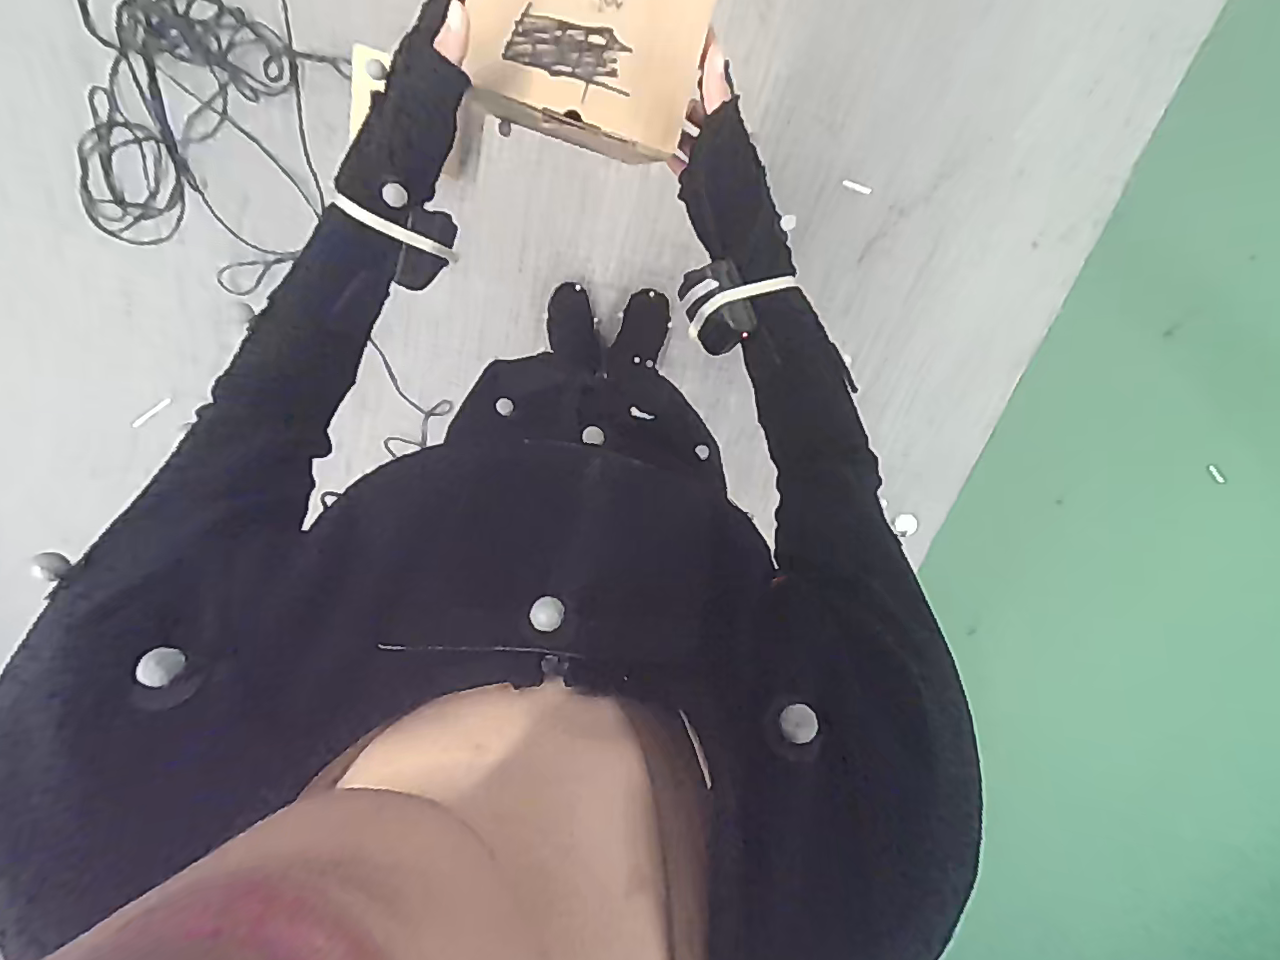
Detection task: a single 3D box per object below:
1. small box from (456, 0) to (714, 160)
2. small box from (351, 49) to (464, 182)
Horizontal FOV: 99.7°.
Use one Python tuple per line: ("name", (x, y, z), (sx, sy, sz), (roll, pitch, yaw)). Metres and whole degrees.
("small box", (-0.044, -0.376, 0.433), (0.168, 0.176, 0.179), (9, 115, -18))
("small box", (-0.476, -0.745, 1.126), (0.168, 0.176, 0.179), (13, 112, -5))
